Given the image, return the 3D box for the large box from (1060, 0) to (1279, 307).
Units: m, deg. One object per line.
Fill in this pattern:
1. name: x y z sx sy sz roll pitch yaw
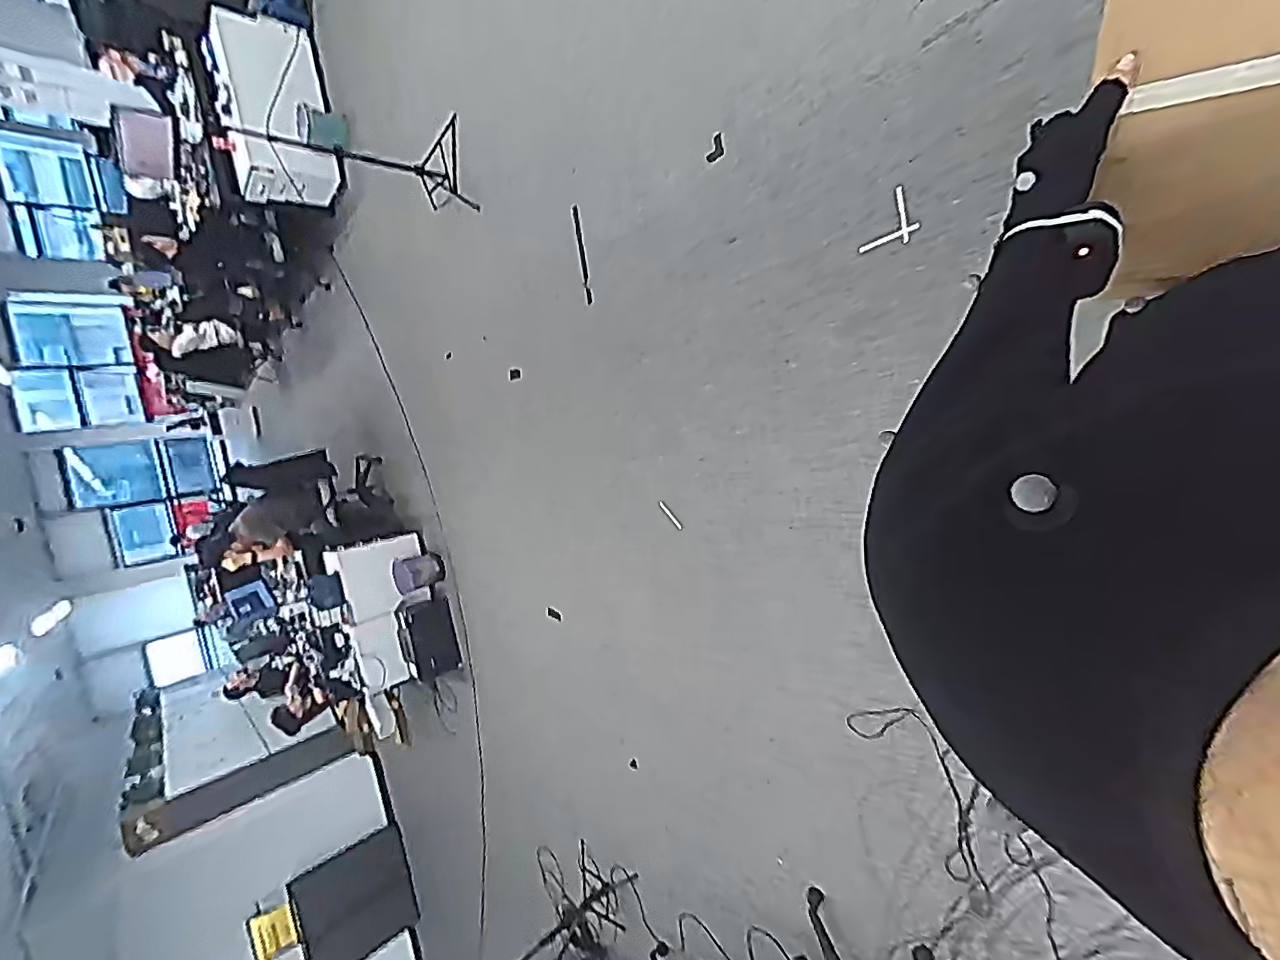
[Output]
1. large box: 0.672 -0.344 0.507 0.408 0.320 0.320 11 108 39
